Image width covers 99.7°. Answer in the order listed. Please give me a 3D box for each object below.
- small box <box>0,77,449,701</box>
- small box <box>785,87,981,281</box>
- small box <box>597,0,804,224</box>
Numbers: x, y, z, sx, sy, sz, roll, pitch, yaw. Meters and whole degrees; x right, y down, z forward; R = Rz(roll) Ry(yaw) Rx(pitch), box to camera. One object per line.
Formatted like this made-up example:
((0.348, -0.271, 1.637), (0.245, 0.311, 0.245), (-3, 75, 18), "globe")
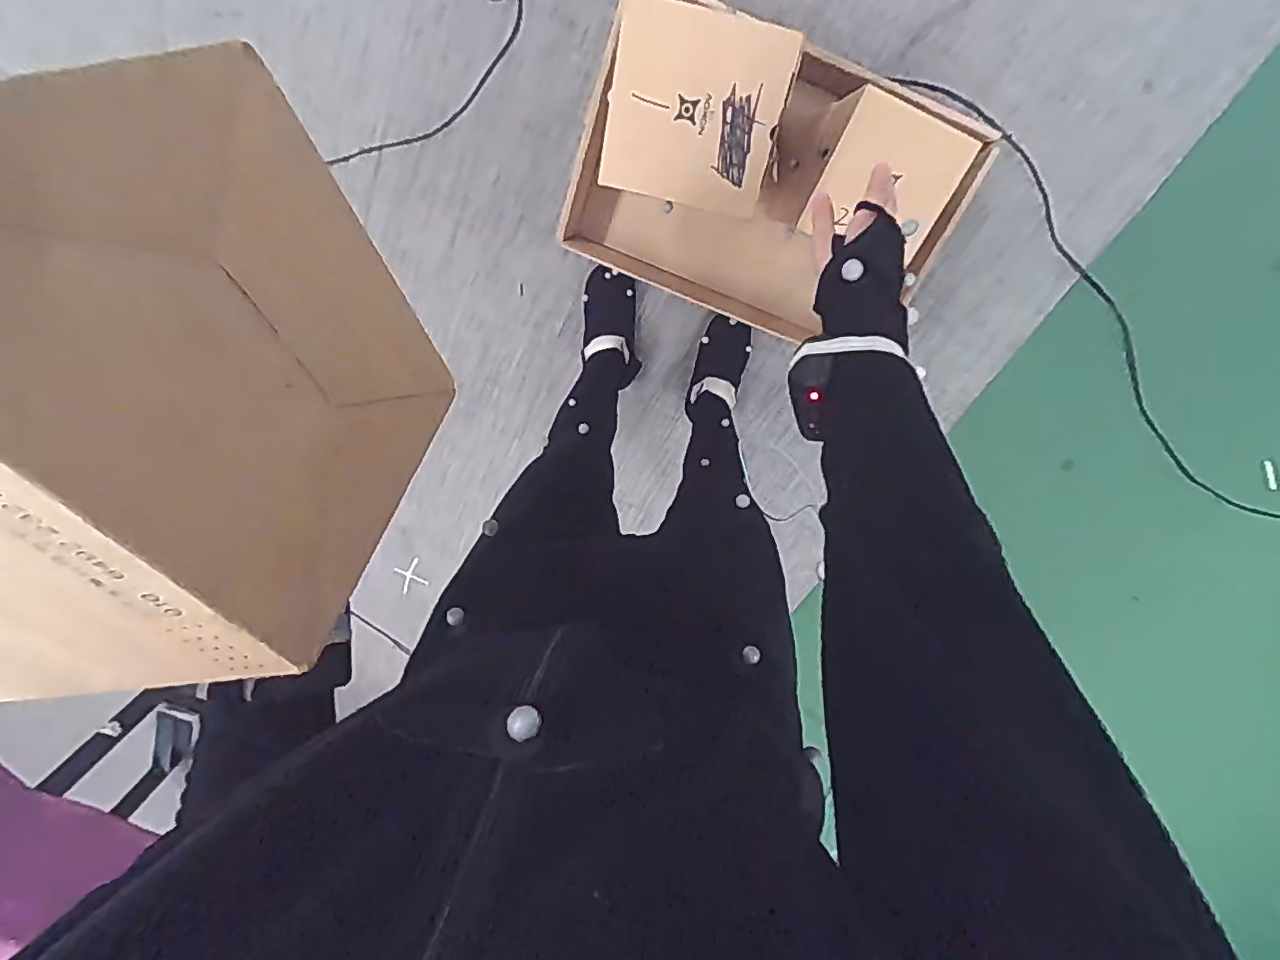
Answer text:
((-0.212, -0.032, 0.220), (0.176, 0.179, 0.168), (-8, 133, 15), "small box")
((0.323, -0.412, 0.767), (0.168, 0.176, 0.179), (23, 119, -6), "small box")
((0.060, -0.404, 0.612), (0.179, 0.176, 0.168), (12, 120, -2), "small box")
